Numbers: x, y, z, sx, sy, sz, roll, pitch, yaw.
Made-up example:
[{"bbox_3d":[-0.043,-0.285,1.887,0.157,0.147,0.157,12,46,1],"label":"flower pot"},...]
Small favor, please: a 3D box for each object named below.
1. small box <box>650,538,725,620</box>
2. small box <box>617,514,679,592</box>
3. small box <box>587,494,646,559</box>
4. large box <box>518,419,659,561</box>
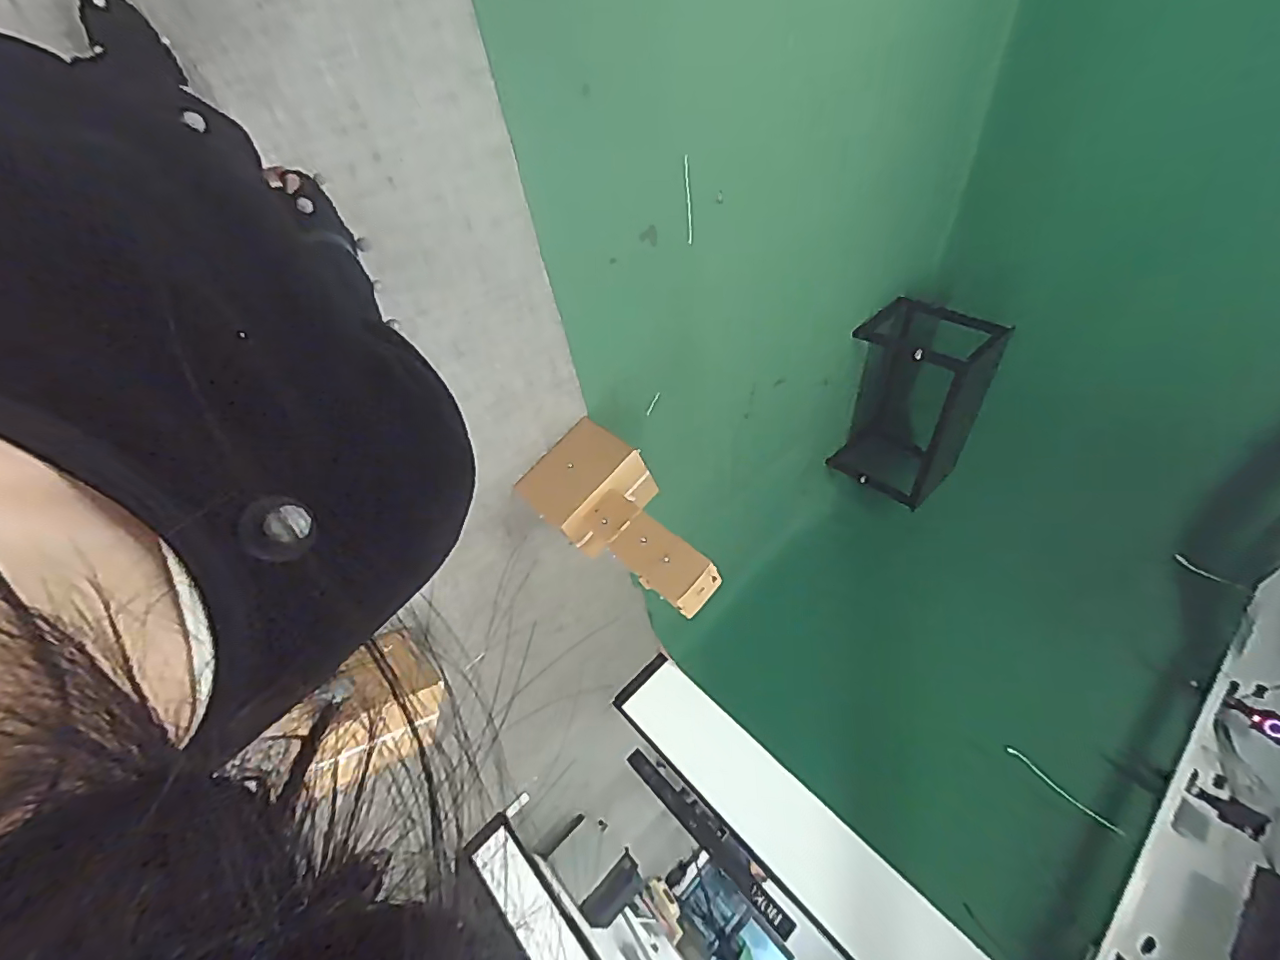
[{"bbox_3d":[0.155,0.331,1.811,0.179,0.176,0.168,-46,144,-11],"label":"small box"},{"bbox_3d":[0.042,0.254,1.904,0.179,0.176,0.168,-48,144,-11],"label":"small box"},{"bbox_3d":[-0.067,0.174,1.996,0.168,0.176,0.179,-46,144,-12],"label":"small box"},{"bbox_3d":[-0.199,0.037,2.155,0.408,0.320,0.320,-48,146,-12],"label":"large box"}]
